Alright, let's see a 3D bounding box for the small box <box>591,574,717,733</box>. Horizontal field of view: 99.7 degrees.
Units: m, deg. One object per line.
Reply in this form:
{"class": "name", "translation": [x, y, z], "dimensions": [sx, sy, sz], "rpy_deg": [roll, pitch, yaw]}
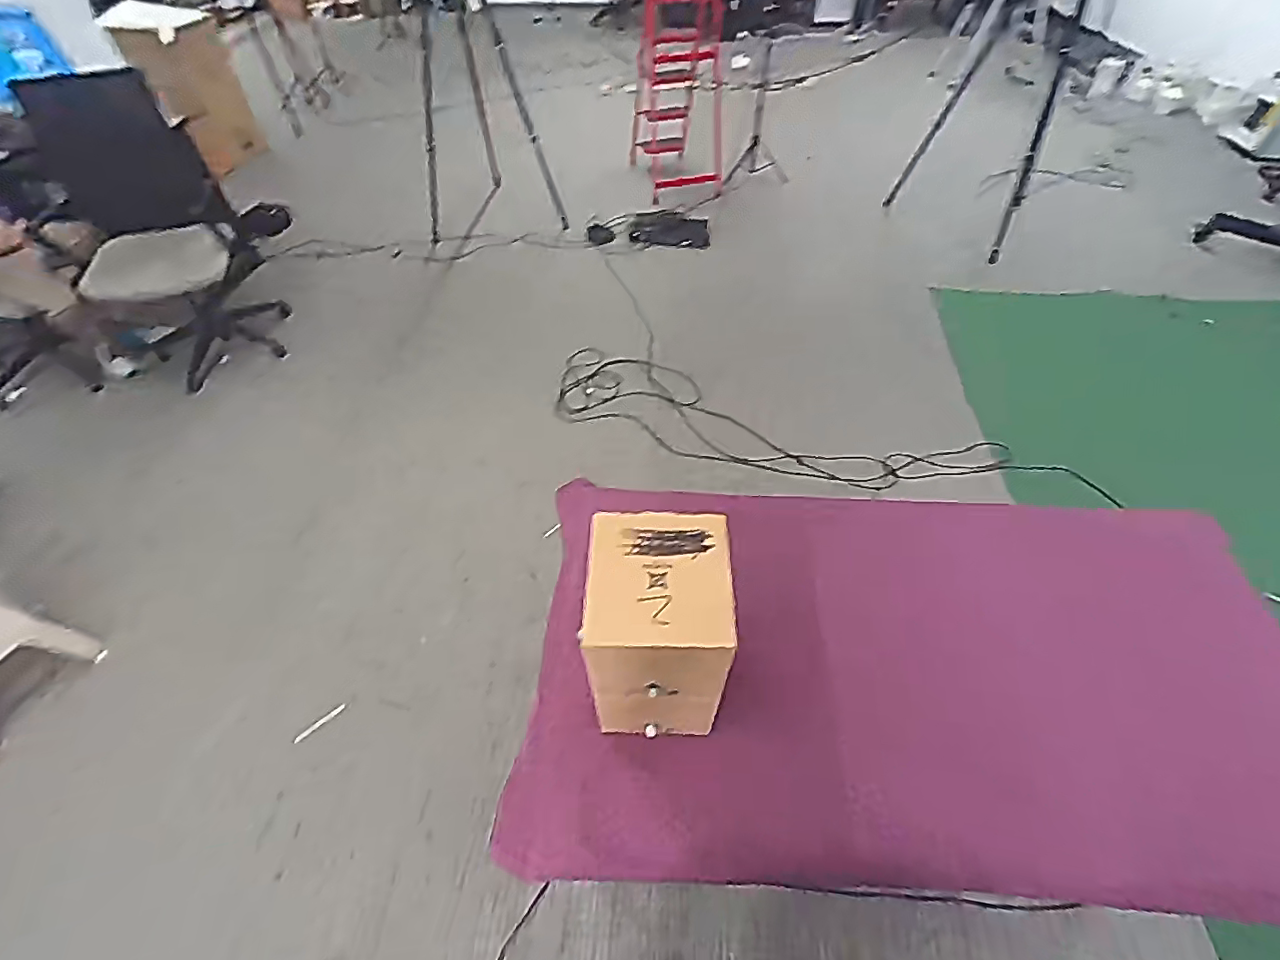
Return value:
{"class": "small box", "translation": [0.020, 0.261, 0.809], "dimensions": [0.168, 0.176, 0.179], "rpy_deg": [1, 51, 1]}
